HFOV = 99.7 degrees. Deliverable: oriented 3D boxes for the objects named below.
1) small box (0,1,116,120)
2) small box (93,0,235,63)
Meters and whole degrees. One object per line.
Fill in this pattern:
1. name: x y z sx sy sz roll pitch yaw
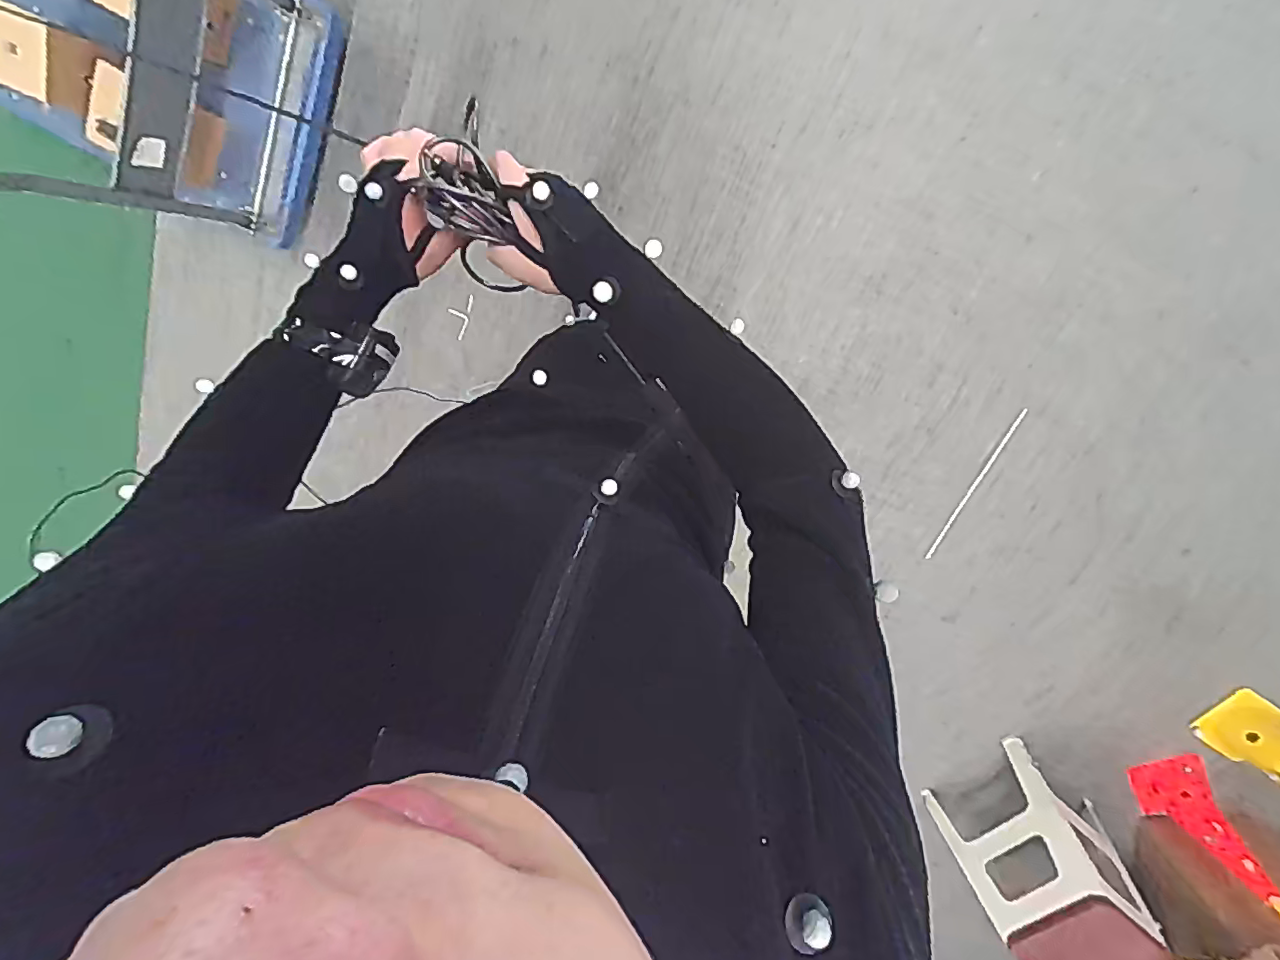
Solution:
1. small box: -1.378 -0.971 1.253 0.179 0.176 0.168 24 109 -1
2. small box: -1.046 -1.063 1.180 0.179 0.176 0.168 28 109 -3
